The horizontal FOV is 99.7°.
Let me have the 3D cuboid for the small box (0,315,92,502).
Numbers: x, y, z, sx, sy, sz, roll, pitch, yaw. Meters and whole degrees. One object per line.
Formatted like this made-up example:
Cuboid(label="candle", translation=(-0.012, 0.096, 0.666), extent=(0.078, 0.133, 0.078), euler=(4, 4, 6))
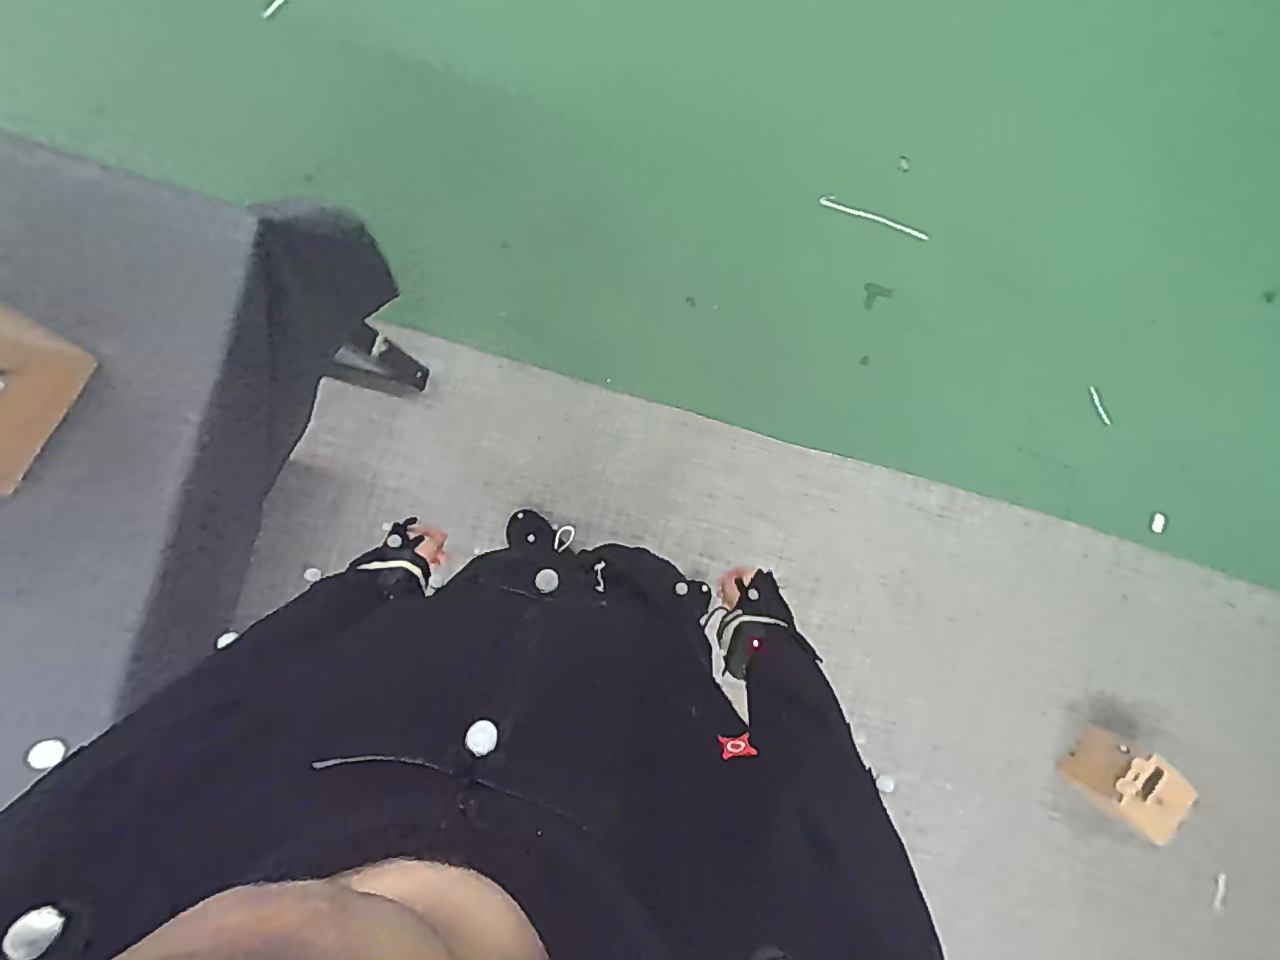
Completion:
Cuboid(label="small box", translation=(-0.697, -0.089, 0.511), extent=(0.168, 0.176, 0.179), euler=(29, 87, -3))
